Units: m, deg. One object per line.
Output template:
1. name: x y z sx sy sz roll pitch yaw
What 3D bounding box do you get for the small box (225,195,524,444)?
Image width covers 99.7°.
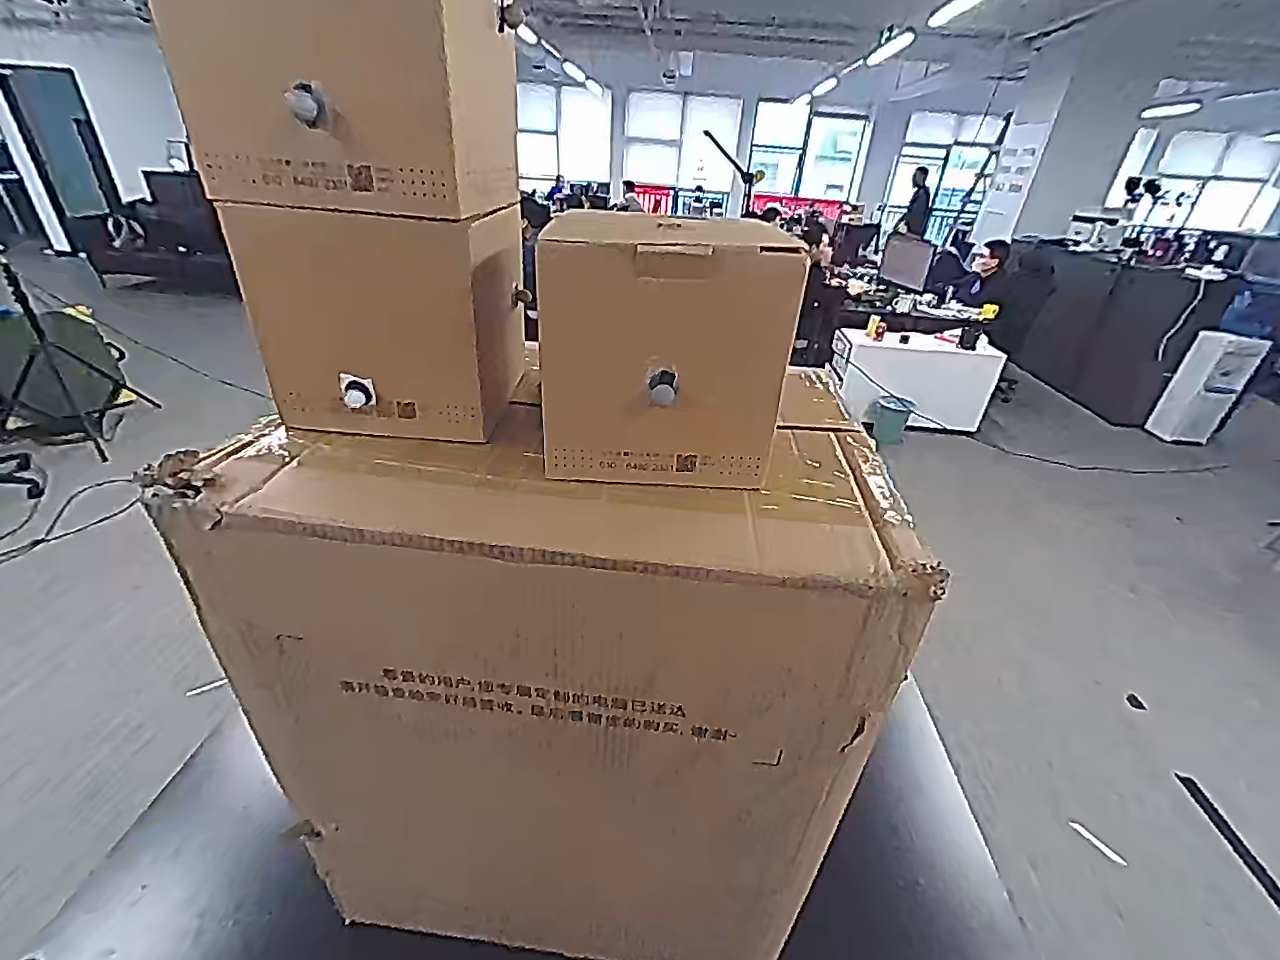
1. small box: -0.196 -0.147 0.464 0.168 0.176 0.179 3 32 -2

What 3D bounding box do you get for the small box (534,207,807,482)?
1. small box: 0.016 -0.111 0.428 0.168 0.176 0.179 2 32 -2

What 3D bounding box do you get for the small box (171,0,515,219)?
1. small box: -0.187 -0.288 0.378 0.168 0.176 0.179 4 31 0
